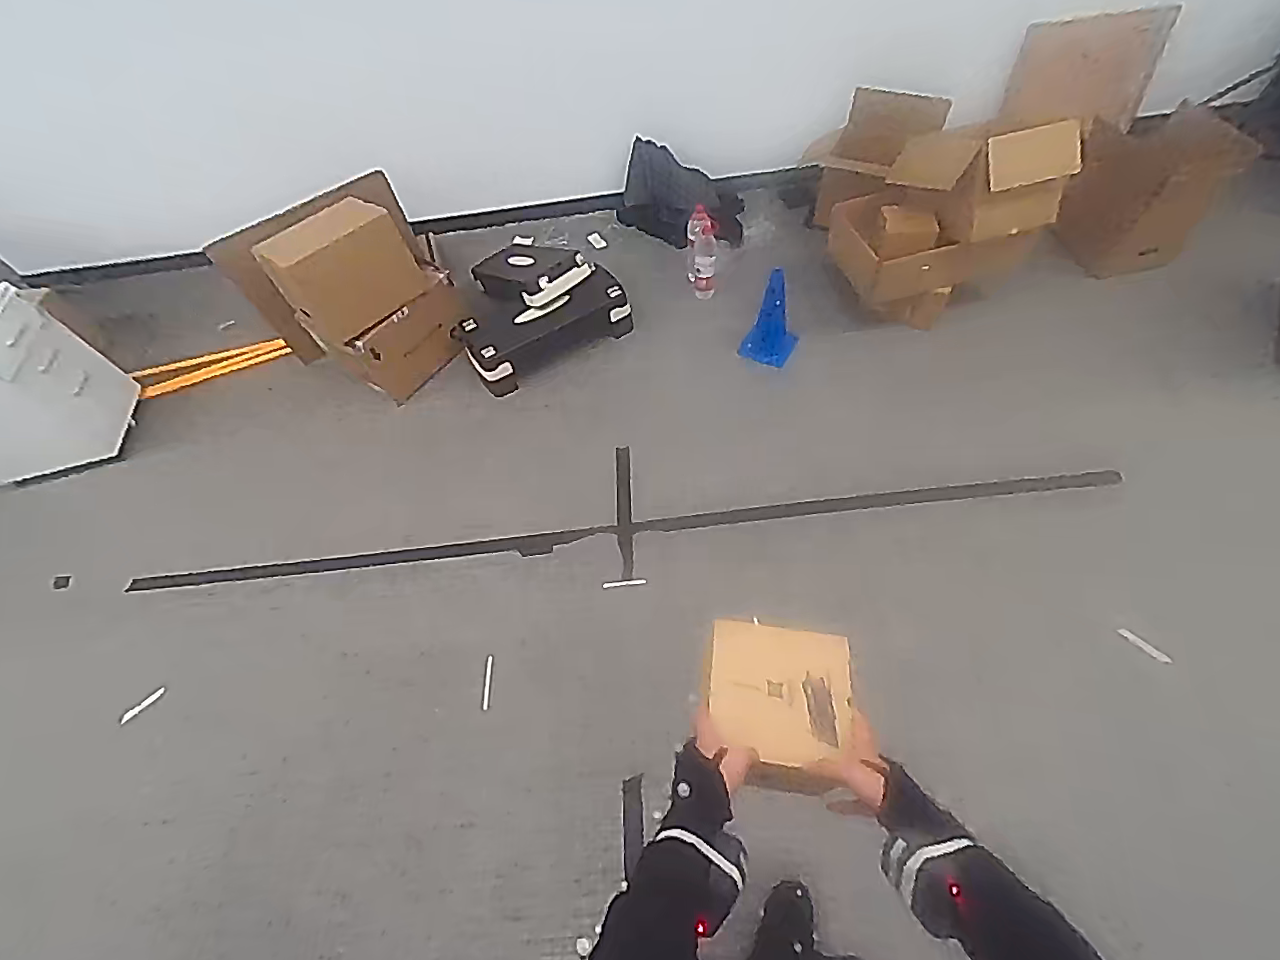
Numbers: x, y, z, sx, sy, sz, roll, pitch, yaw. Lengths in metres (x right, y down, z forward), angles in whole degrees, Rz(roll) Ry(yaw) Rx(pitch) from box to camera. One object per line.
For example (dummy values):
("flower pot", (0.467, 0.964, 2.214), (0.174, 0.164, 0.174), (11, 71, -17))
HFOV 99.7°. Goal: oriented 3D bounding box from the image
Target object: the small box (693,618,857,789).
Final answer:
("small box", (0.172, 0.306, 0.728), (0.179, 0.176, 0.168), (7, 53, 5))
